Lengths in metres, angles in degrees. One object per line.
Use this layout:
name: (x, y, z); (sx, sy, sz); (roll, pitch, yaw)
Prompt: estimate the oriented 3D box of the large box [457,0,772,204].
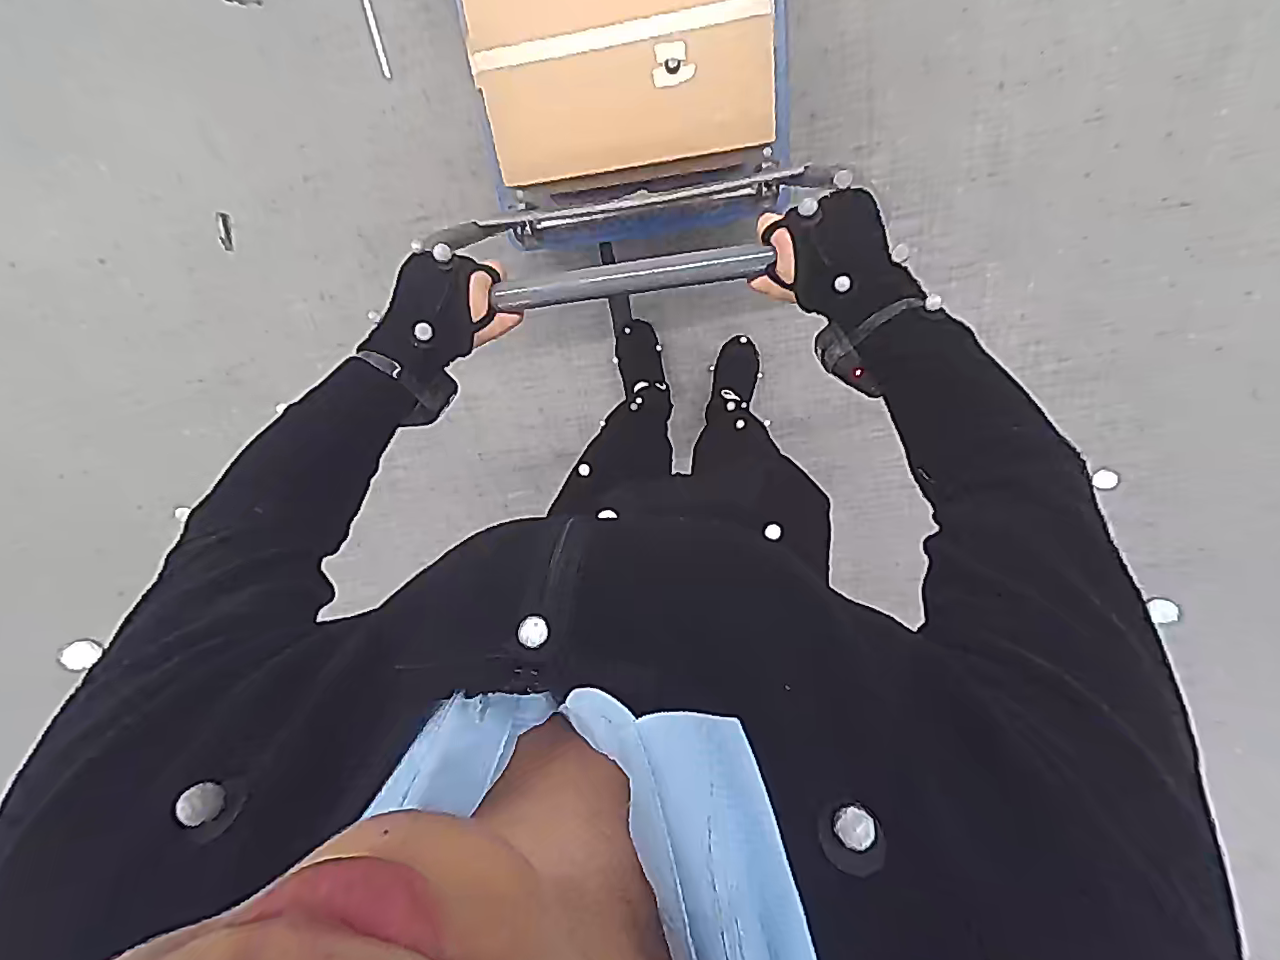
large box: (-0.028, -0.646, 0.859); (0.408, 0.320, 0.320); (-7, 116, 5)
